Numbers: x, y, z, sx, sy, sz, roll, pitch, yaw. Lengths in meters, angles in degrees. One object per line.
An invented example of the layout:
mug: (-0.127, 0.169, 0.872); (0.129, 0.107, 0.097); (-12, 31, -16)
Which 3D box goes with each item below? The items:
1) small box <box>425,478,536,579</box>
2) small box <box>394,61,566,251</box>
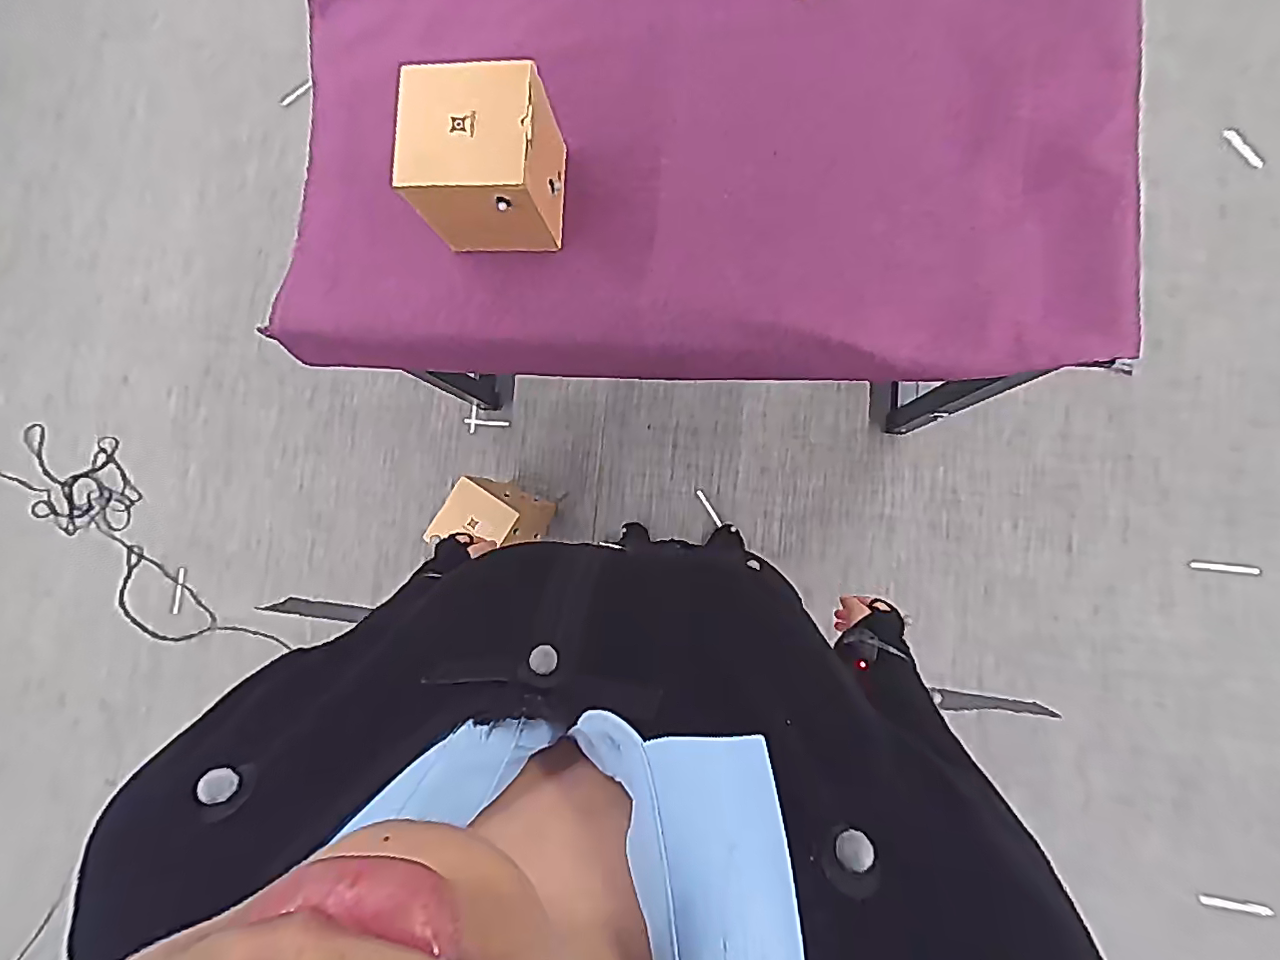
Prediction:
small box: (-0.371, 0.113, 1.302); (0.168, 0.176, 0.179); (33, 91, 7)
small box: (-0.213, -0.438, 0.757); (0.179, 0.176, 0.168); (2, 86, 5)
